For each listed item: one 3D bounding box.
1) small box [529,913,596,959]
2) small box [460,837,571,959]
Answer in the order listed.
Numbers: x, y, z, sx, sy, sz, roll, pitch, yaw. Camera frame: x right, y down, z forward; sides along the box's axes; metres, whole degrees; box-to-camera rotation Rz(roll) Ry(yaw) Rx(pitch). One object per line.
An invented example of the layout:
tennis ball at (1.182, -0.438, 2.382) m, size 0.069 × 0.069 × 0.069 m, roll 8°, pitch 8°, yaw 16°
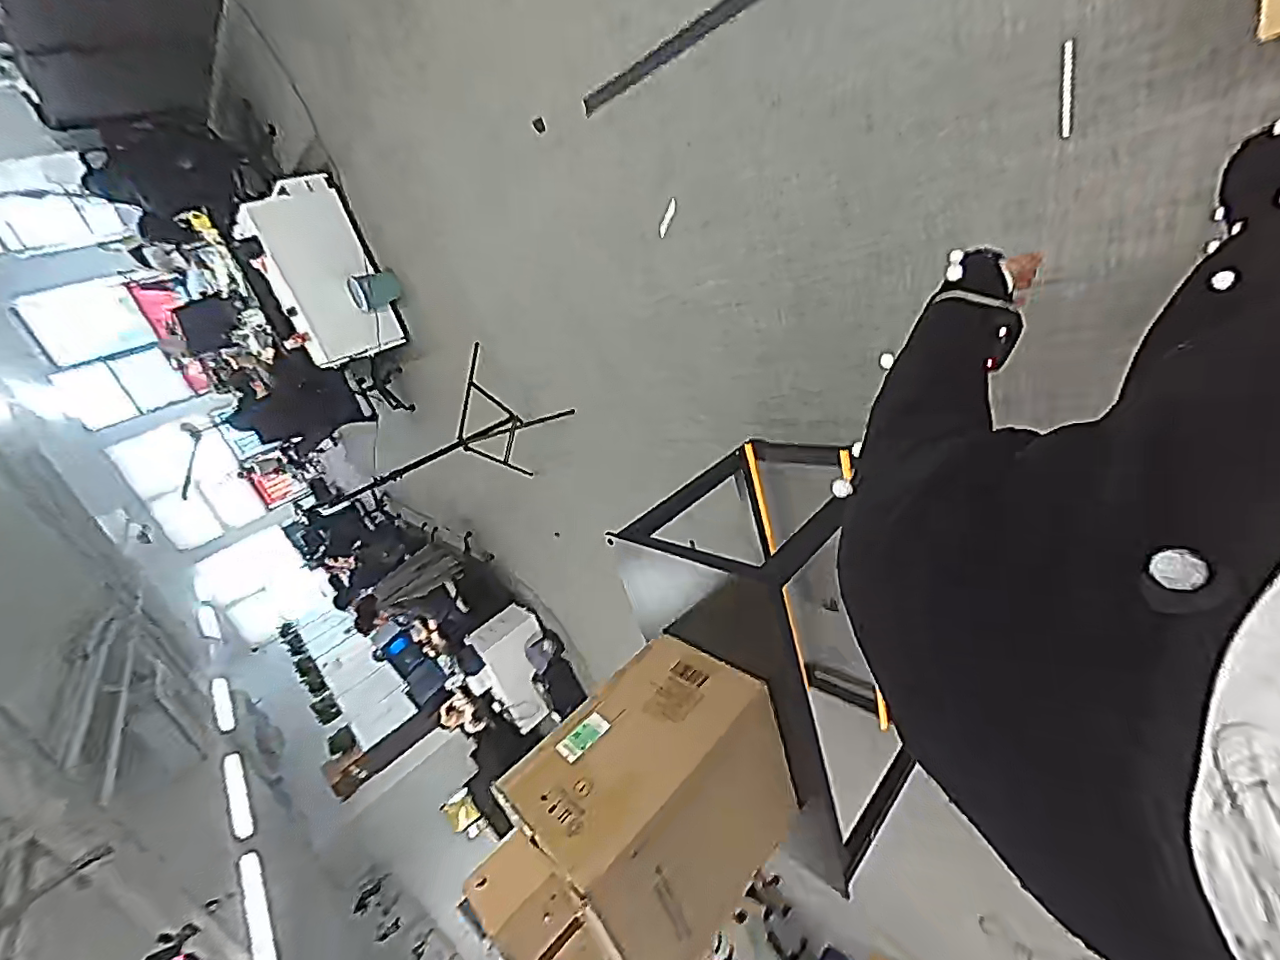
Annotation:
small box at (-0.231, 1.195, 1.376) m, size 0.179 × 0.176 × 0.168 m, roll 5°, pitch 121°, yaw 52°
small box at (-0.291, 0.997, 1.283) m, size 0.179 × 0.176 × 0.168 m, roll 9°, pitch 125°, yaw 52°
